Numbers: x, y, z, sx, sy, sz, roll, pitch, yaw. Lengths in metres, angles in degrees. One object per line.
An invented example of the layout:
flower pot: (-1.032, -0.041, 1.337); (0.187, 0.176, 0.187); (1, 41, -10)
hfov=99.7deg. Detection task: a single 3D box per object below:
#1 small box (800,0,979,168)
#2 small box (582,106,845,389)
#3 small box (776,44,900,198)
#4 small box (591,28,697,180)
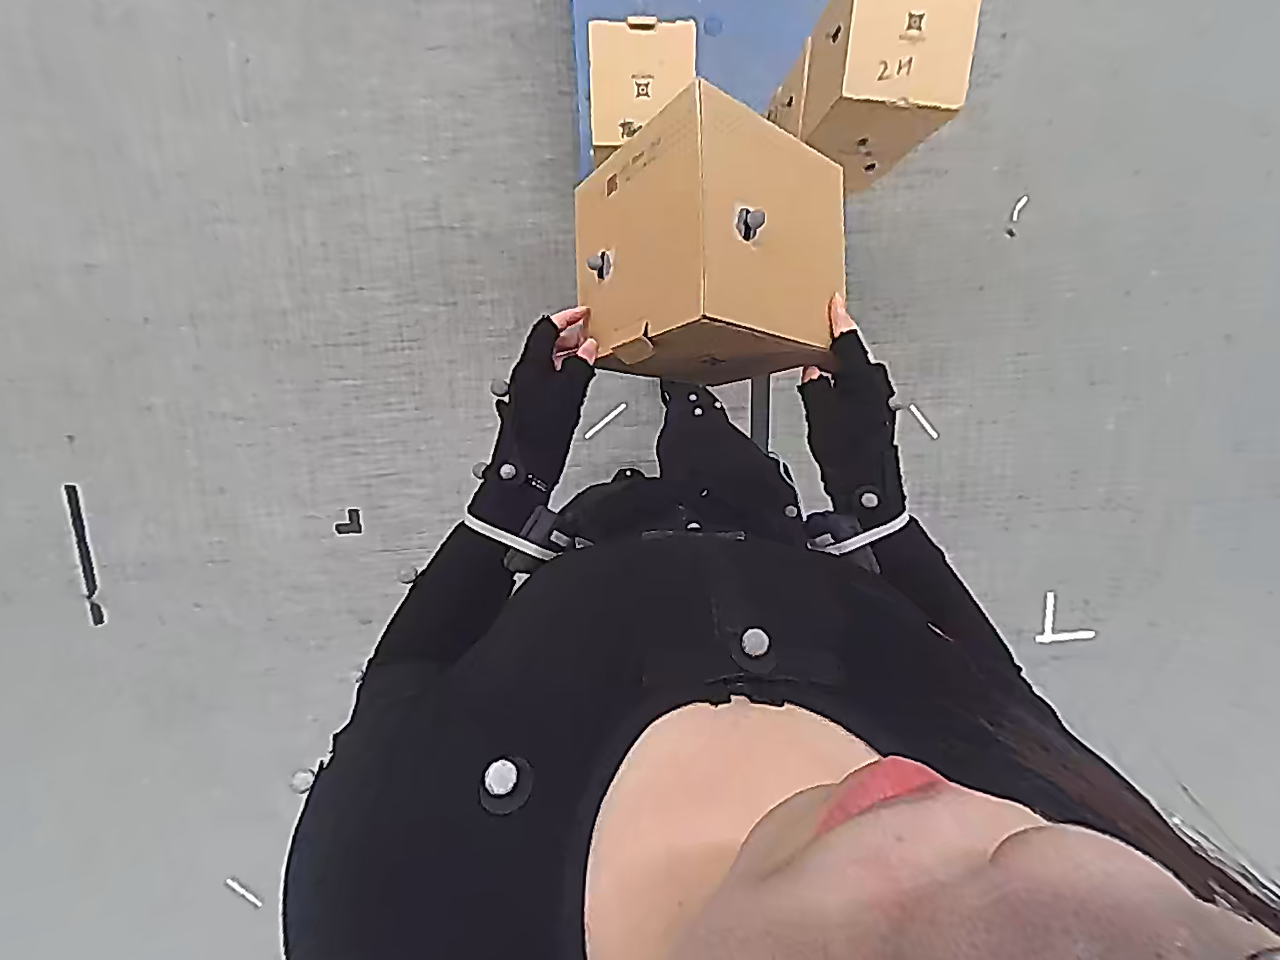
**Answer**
small box: (0.340, -0.577, 0.768); (0.168, 0.176, 0.179); (4, 100, -3)
small box: (0.060, -0.188, 0.484); (0.179, 0.168, 0.176); (0, 88, -38)
small box: (0.334, -0.603, 0.931); (0.179, 0.176, 0.168); (3, 100, -3)
small box: (0.003, -0.615, 0.917); (0.168, 0.176, 0.179); (-1, 100, -1)
